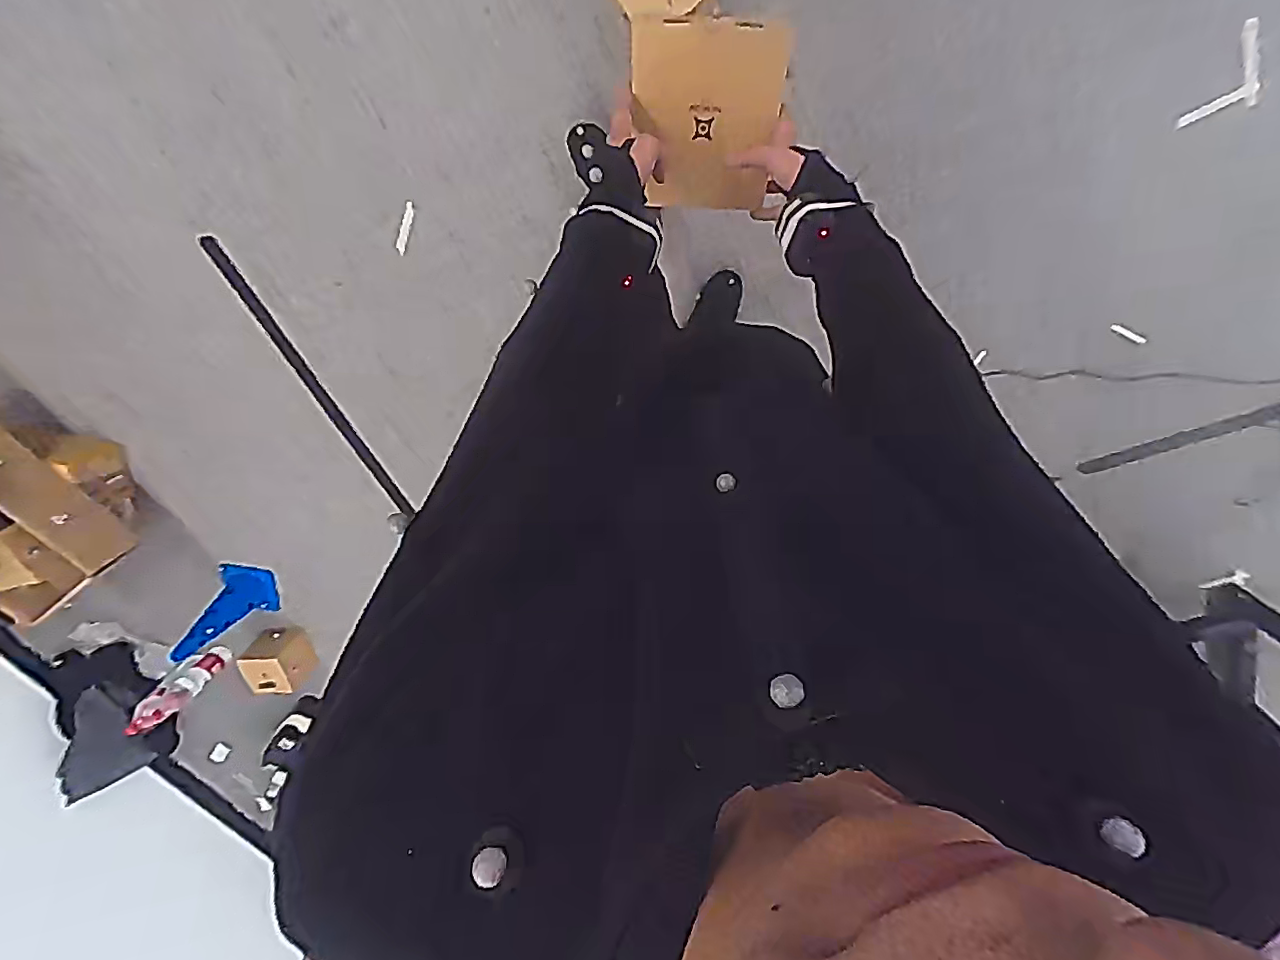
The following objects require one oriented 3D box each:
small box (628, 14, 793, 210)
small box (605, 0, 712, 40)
[{"bbox_3d":[0.072,-0.447,0.657,0.168,0.176,0.179,2,129,-1],"label":"small box"},{"bbox_3d":[0.034,-1.001,1.114,0.168,0.176,0.179,-40,109,21],"label":"small box"}]
